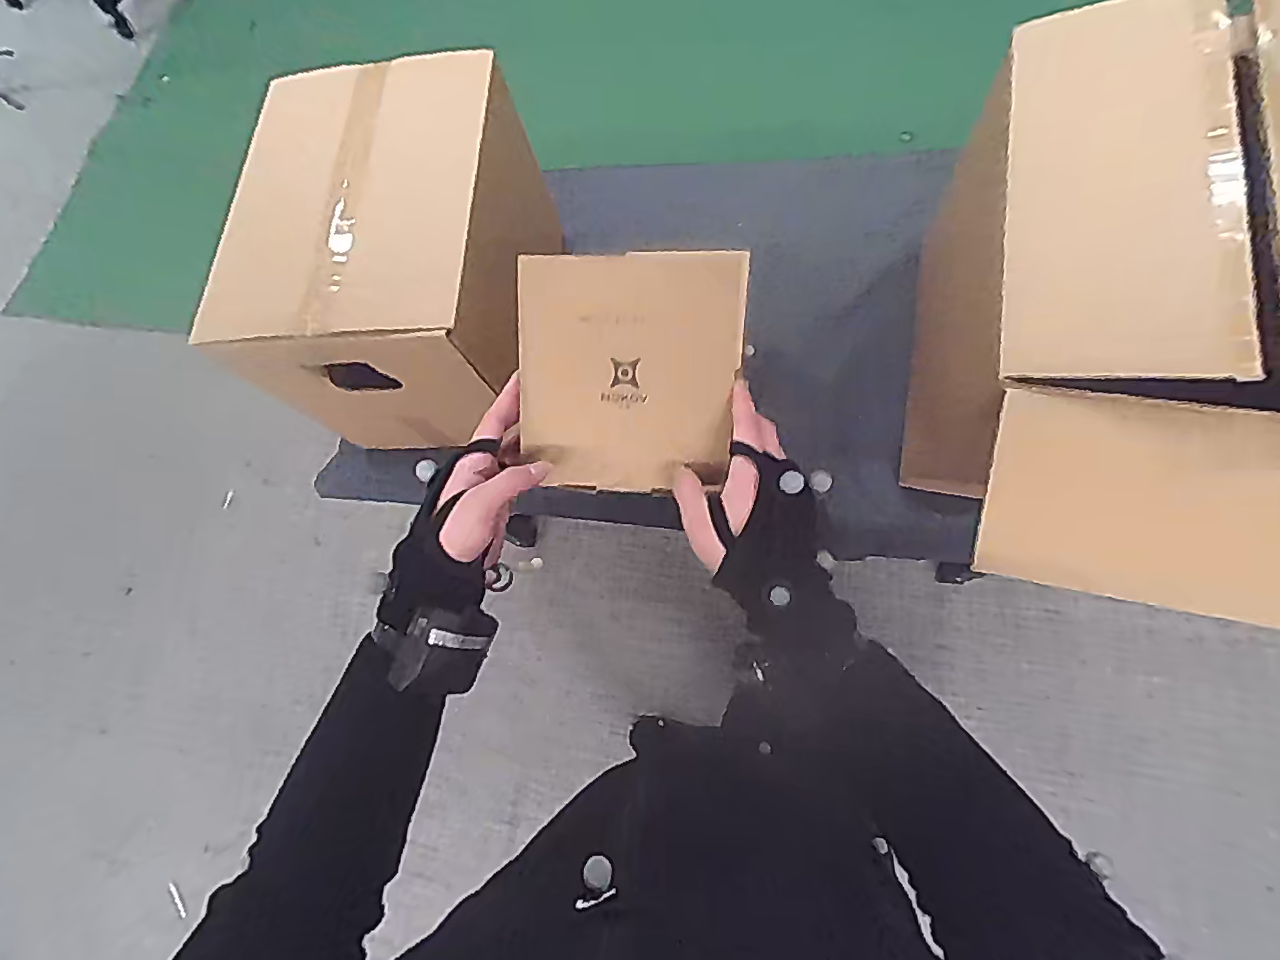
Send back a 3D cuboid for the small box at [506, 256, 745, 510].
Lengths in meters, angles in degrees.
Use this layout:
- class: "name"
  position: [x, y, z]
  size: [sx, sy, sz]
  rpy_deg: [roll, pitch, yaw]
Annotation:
- class: "small box"
  position: [-0.006, -0.083, 0.459]
  size: [0.168, 0.176, 0.179]
  rpy_deg: [2, 102, 4]
